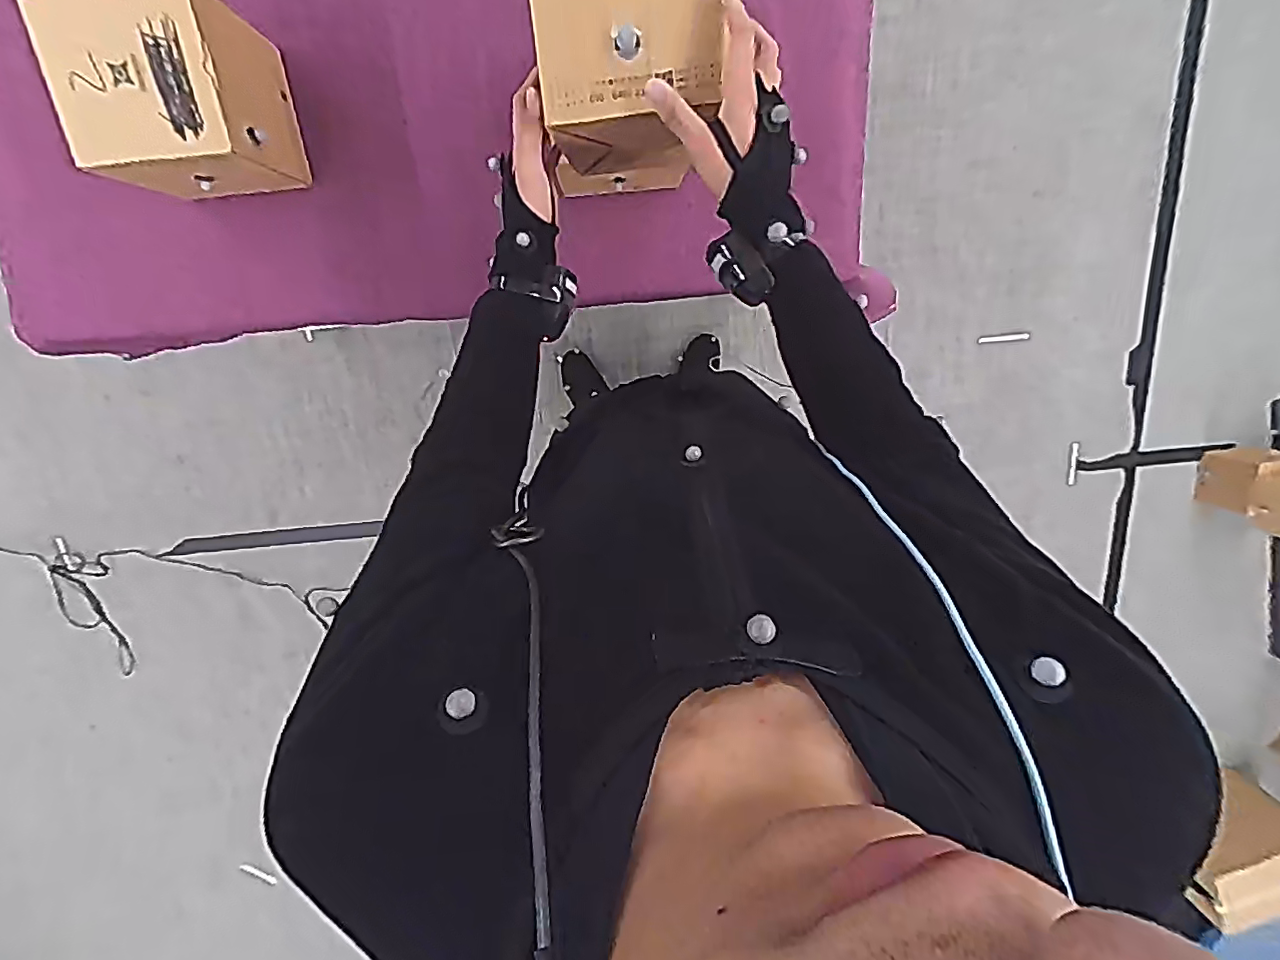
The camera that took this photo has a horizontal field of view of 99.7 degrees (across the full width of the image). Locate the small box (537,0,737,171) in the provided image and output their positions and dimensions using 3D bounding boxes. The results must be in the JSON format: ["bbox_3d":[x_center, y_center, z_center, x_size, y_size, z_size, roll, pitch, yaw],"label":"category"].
[{"bbox_3d":[-0.001,-0.409,0.513,0.168,0.179,0.176,-5,108,4],"label":"small box"}]

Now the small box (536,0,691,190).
[{"bbox_3d":[-0.029,-0.475,0.676,0.168,0.176,0.179,-6,107,-2],"label":"small box"}]

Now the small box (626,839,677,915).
[{"bbox_3d":[0.038,1.493,2.039,0.179,0.176,0.168,1,106,-5],"label":"small box"}]
